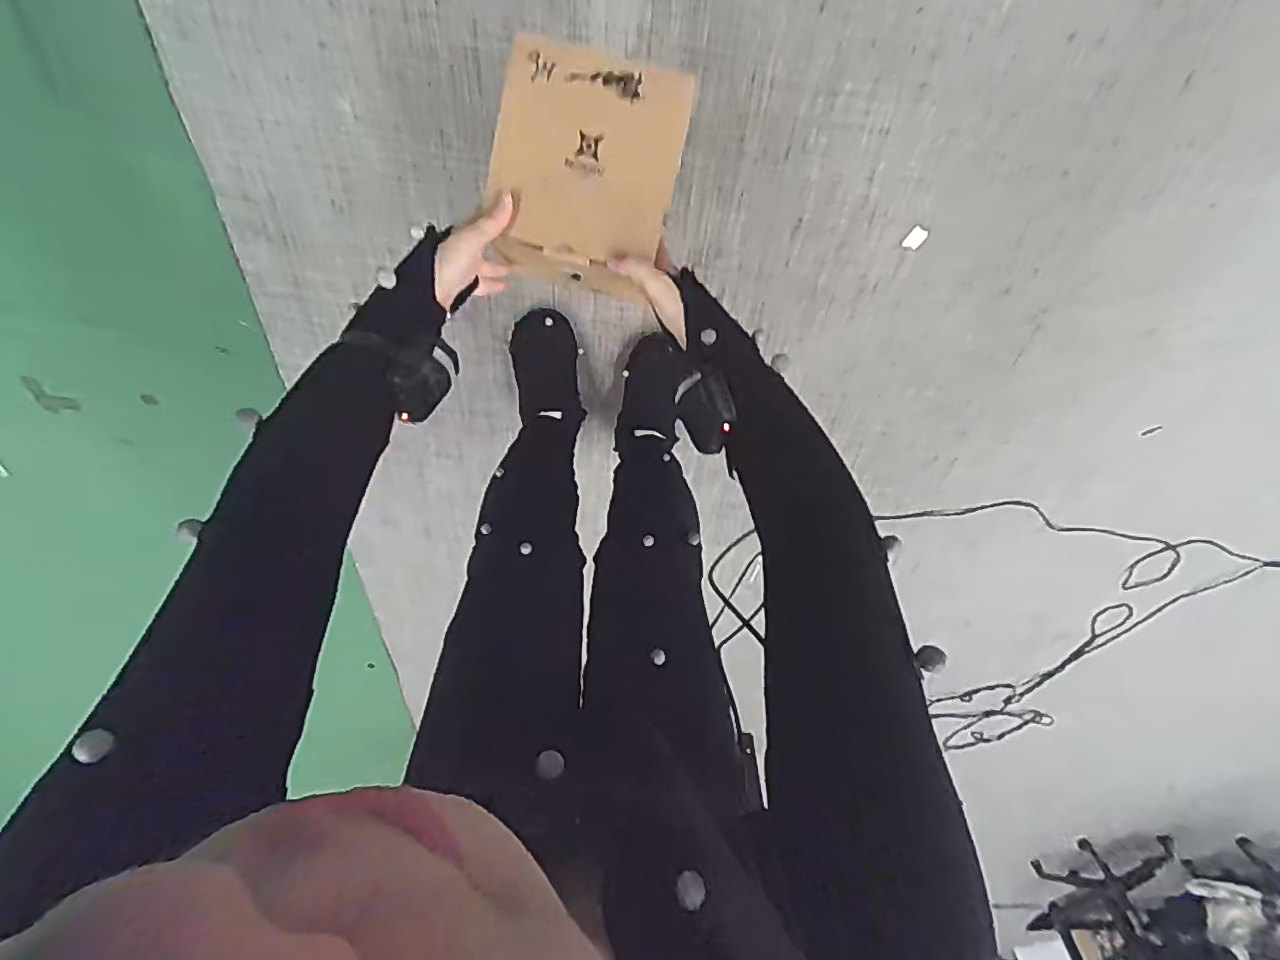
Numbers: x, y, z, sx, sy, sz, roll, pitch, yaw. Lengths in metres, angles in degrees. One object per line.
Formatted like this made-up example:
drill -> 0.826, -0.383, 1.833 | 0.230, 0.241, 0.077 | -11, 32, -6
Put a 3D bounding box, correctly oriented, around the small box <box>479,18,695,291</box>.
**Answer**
small box -> -0.049, -0.310, 0.561 | 0.168, 0.176, 0.179 | 13, 99, -3
